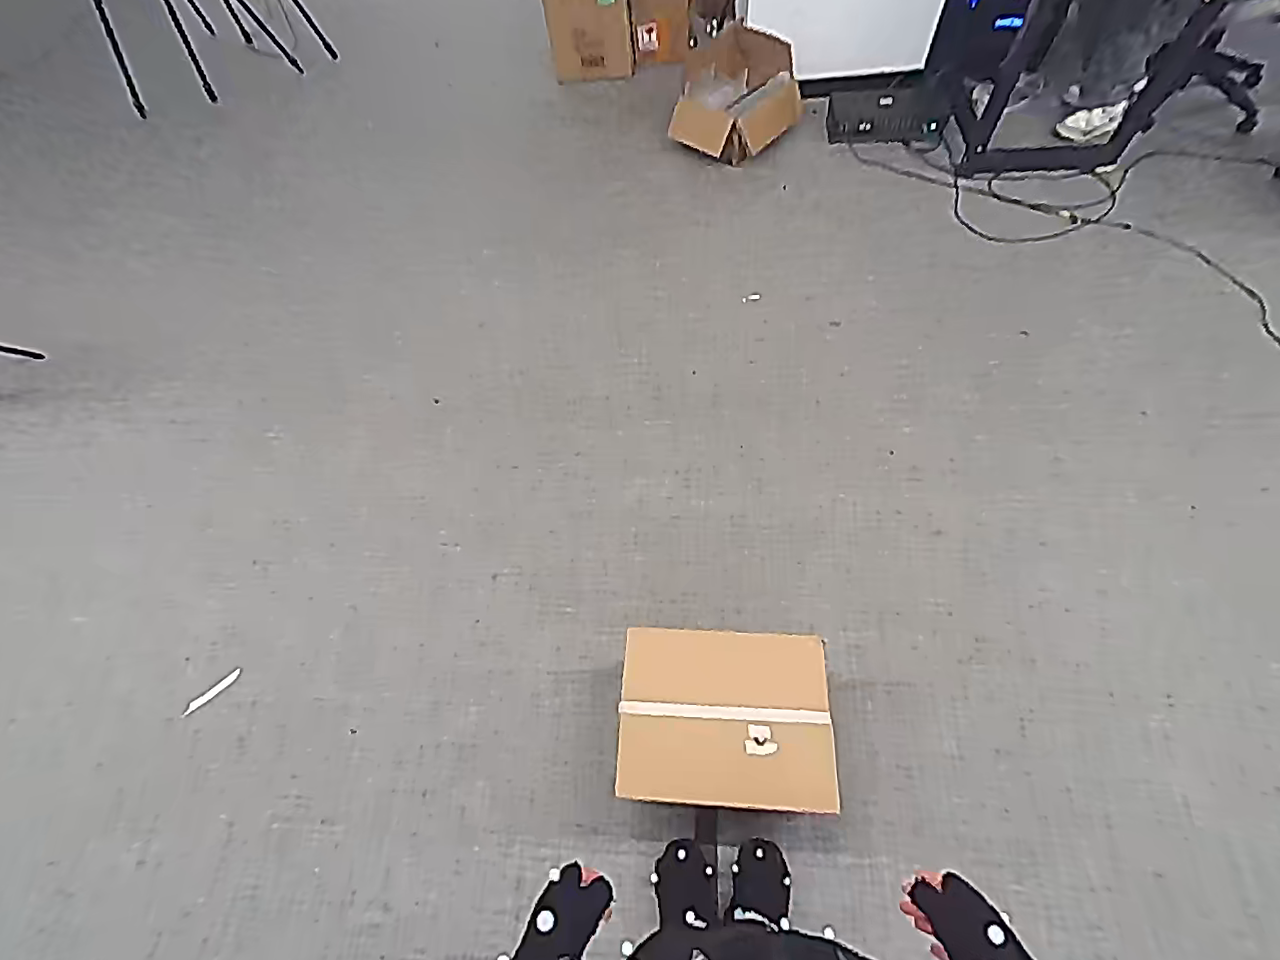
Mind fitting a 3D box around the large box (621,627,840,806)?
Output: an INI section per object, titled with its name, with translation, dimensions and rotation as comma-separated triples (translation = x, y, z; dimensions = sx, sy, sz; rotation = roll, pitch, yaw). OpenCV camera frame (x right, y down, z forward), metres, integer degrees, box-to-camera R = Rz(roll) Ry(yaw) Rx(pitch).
[large box]
translation = 0.175, 0.518, 1.178
dimensions = 0.408, 0.320, 0.320
rotation = 1, 62, 5
